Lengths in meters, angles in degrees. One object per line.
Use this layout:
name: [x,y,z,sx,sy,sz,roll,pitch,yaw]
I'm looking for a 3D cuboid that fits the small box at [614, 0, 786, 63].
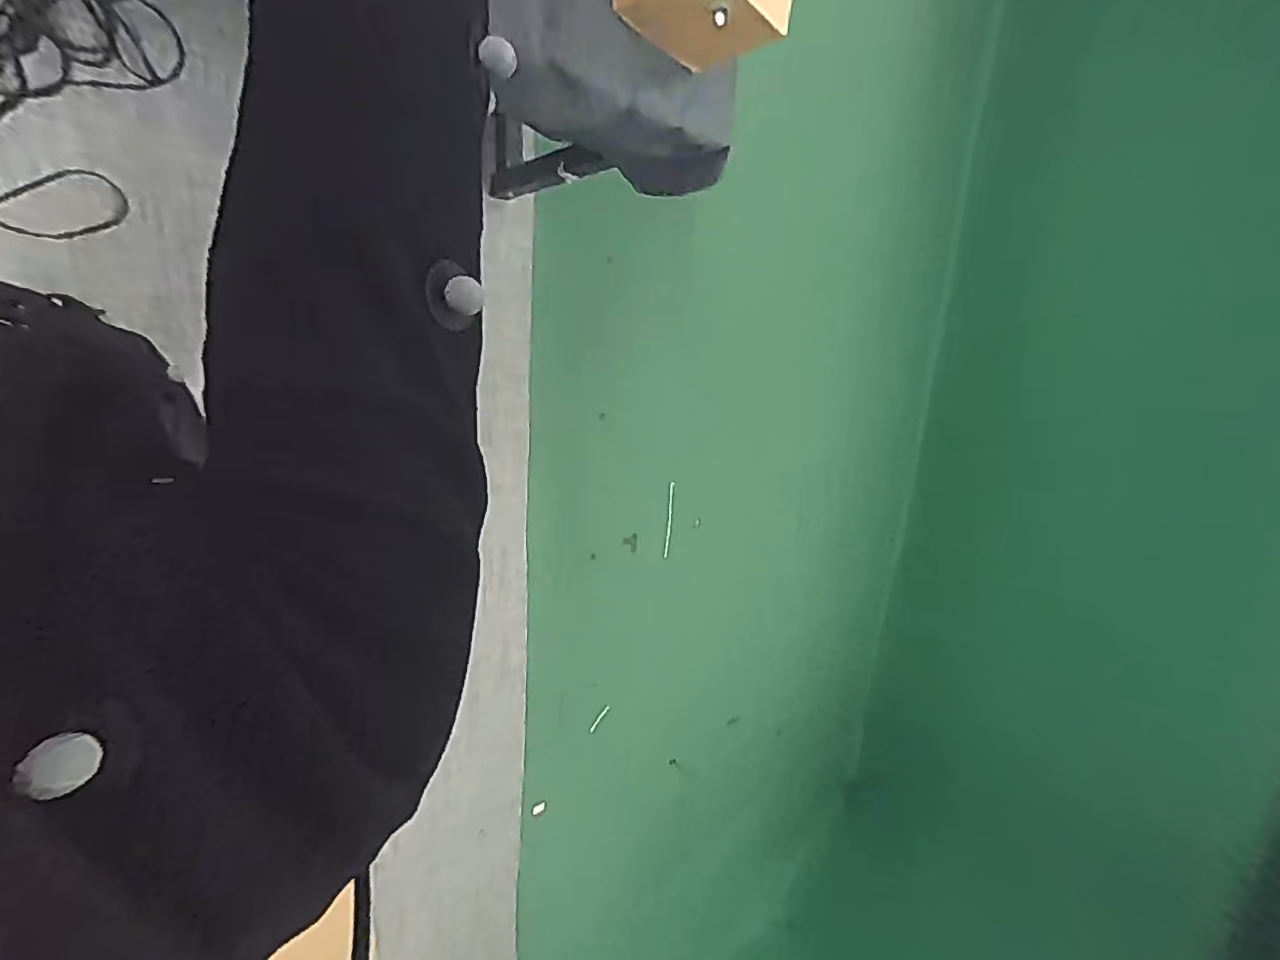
small box: [0.084,-0.696,0.712,0.179,0.176,0.168,-2,105,-45]
